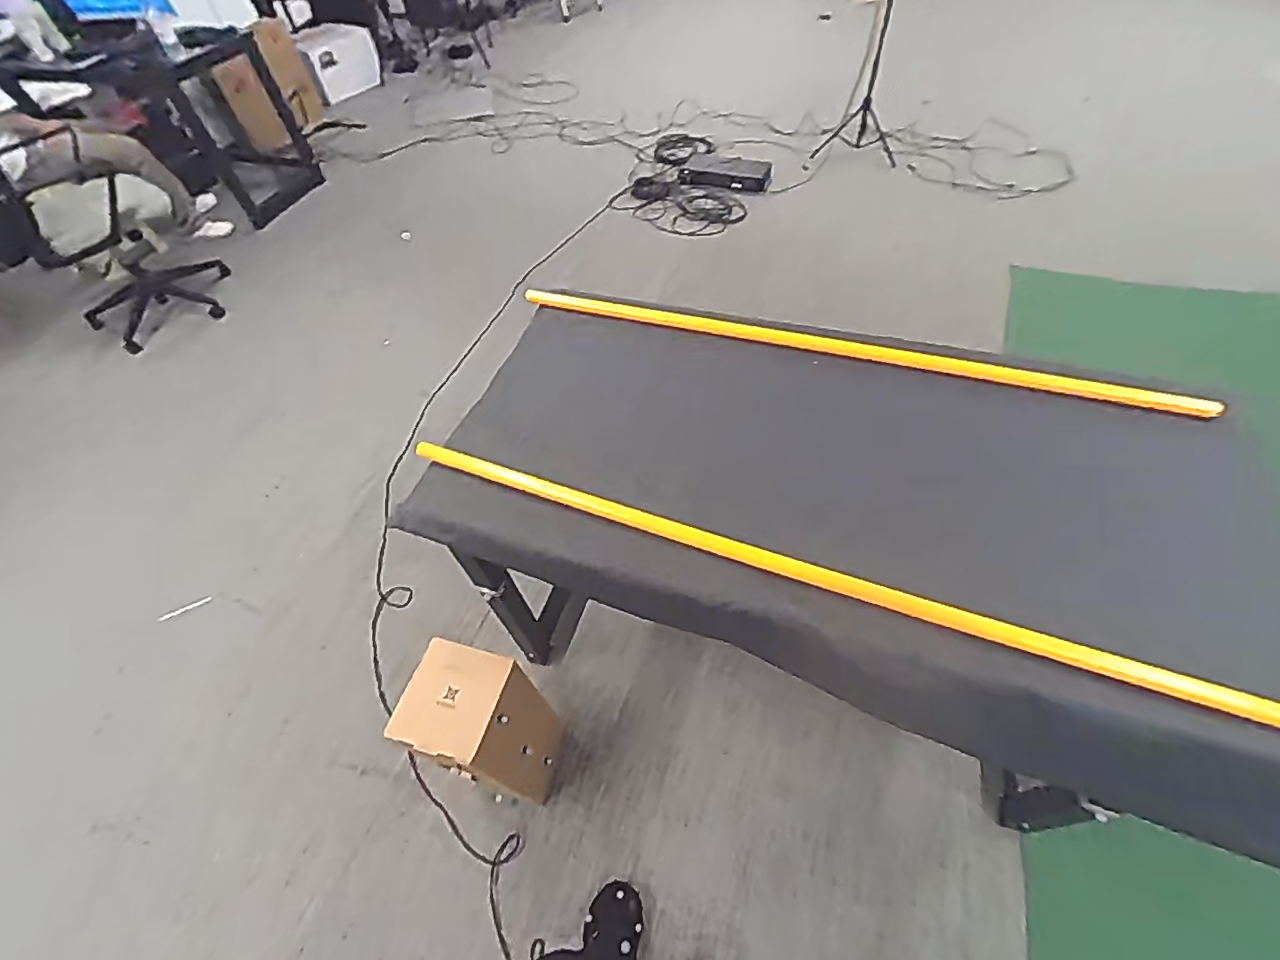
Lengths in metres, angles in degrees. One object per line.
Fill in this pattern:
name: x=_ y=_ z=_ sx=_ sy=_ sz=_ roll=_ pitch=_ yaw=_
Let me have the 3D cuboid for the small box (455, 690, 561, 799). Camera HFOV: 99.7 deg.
small box: x=-0.289 y=0.606 z=1.235 sx=0.168 sy=0.176 sz=0.179 roll=7 pitch=55 yaw=11
